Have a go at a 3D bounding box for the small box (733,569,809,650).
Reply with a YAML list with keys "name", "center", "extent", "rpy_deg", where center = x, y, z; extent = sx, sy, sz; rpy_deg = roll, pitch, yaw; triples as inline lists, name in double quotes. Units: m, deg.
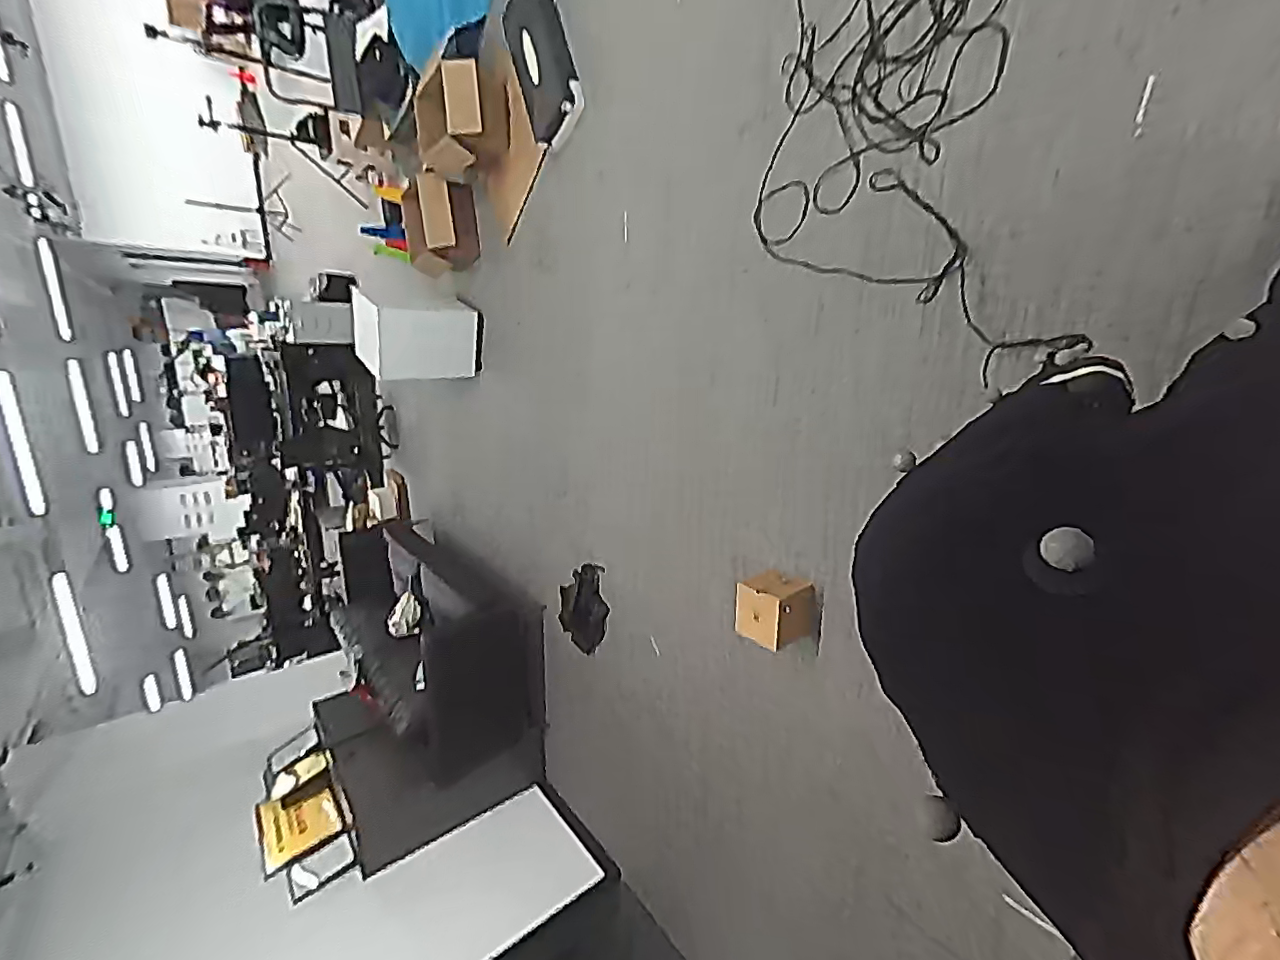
- name: "small box"
  center: [0.412, 0.400, 1.702]
  extent: [0.168, 0.176, 0.179]
  rpy_deg: [16, 110, 50]
